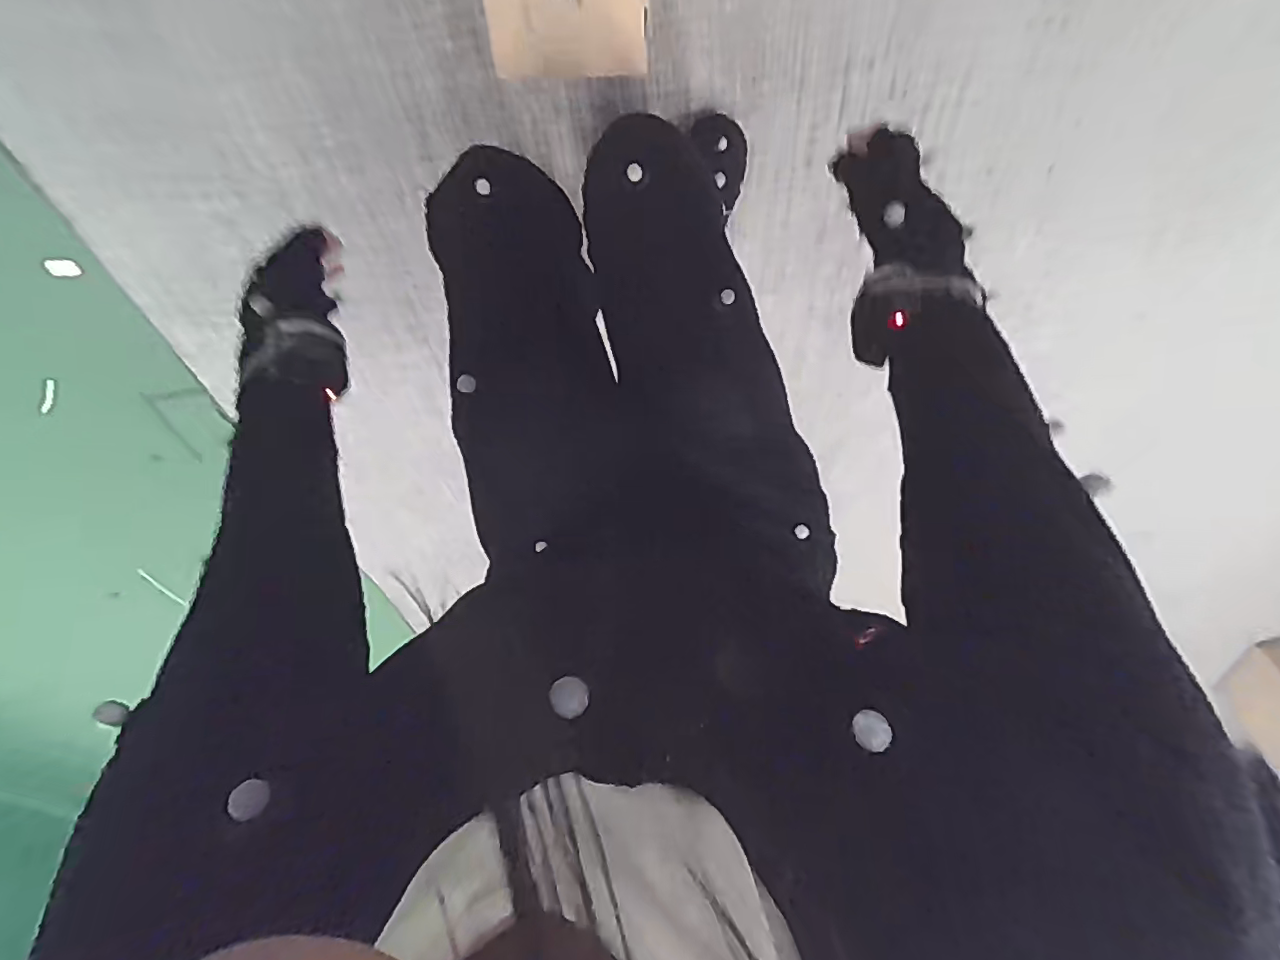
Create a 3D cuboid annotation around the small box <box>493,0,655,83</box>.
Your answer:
[{"bbox_3d":[-0.073,-0.582,0.630,0.179,0.176,0.168,-1,136,2],"label":"small box"}]
